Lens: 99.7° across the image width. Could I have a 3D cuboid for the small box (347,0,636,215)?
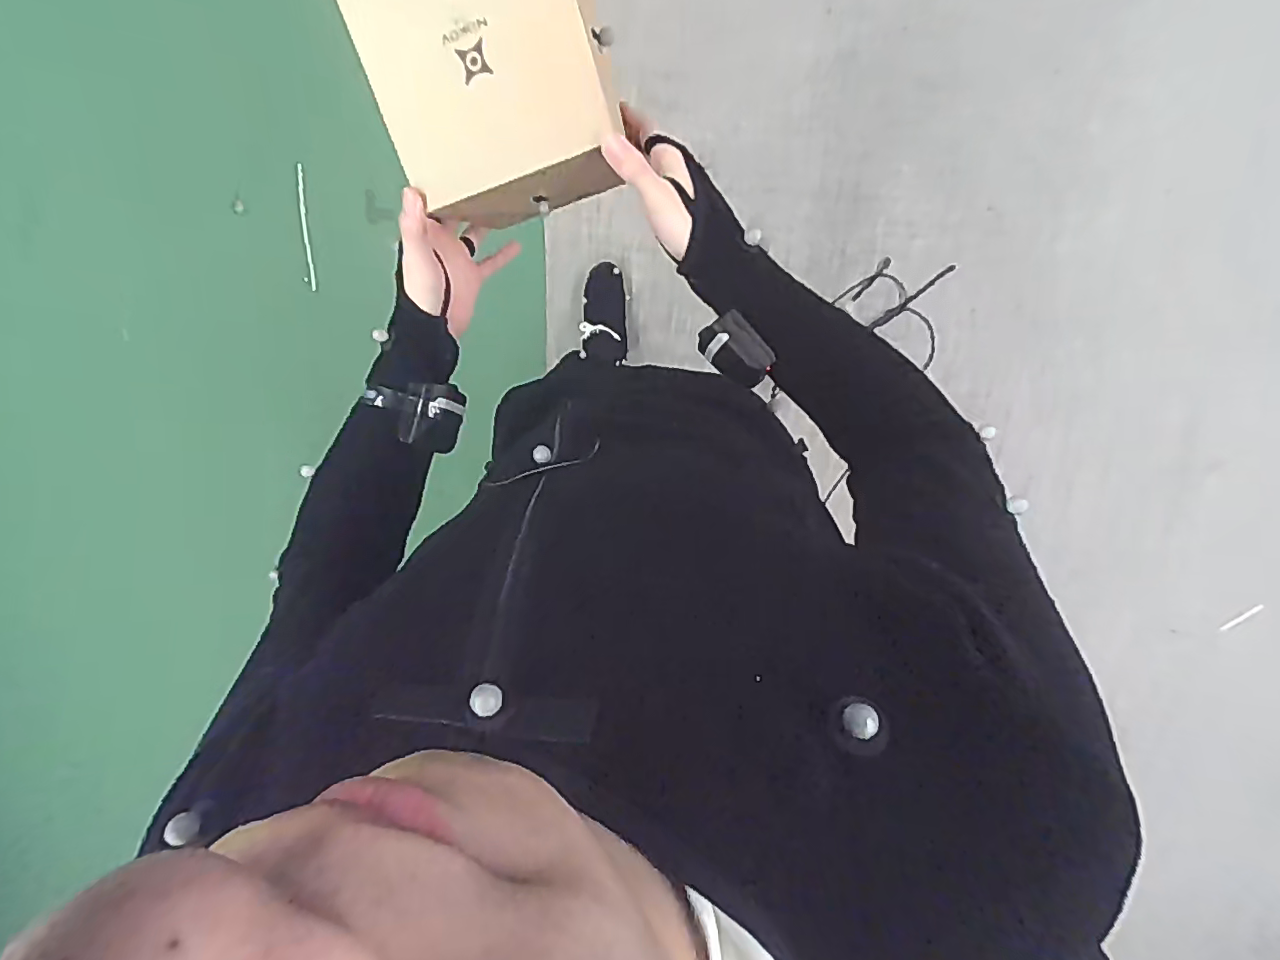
[{"bbox_3d":[-0.108,-0.342,0.464,0.168,0.176,0.179,-13,108,12],"label":"small box"}]
